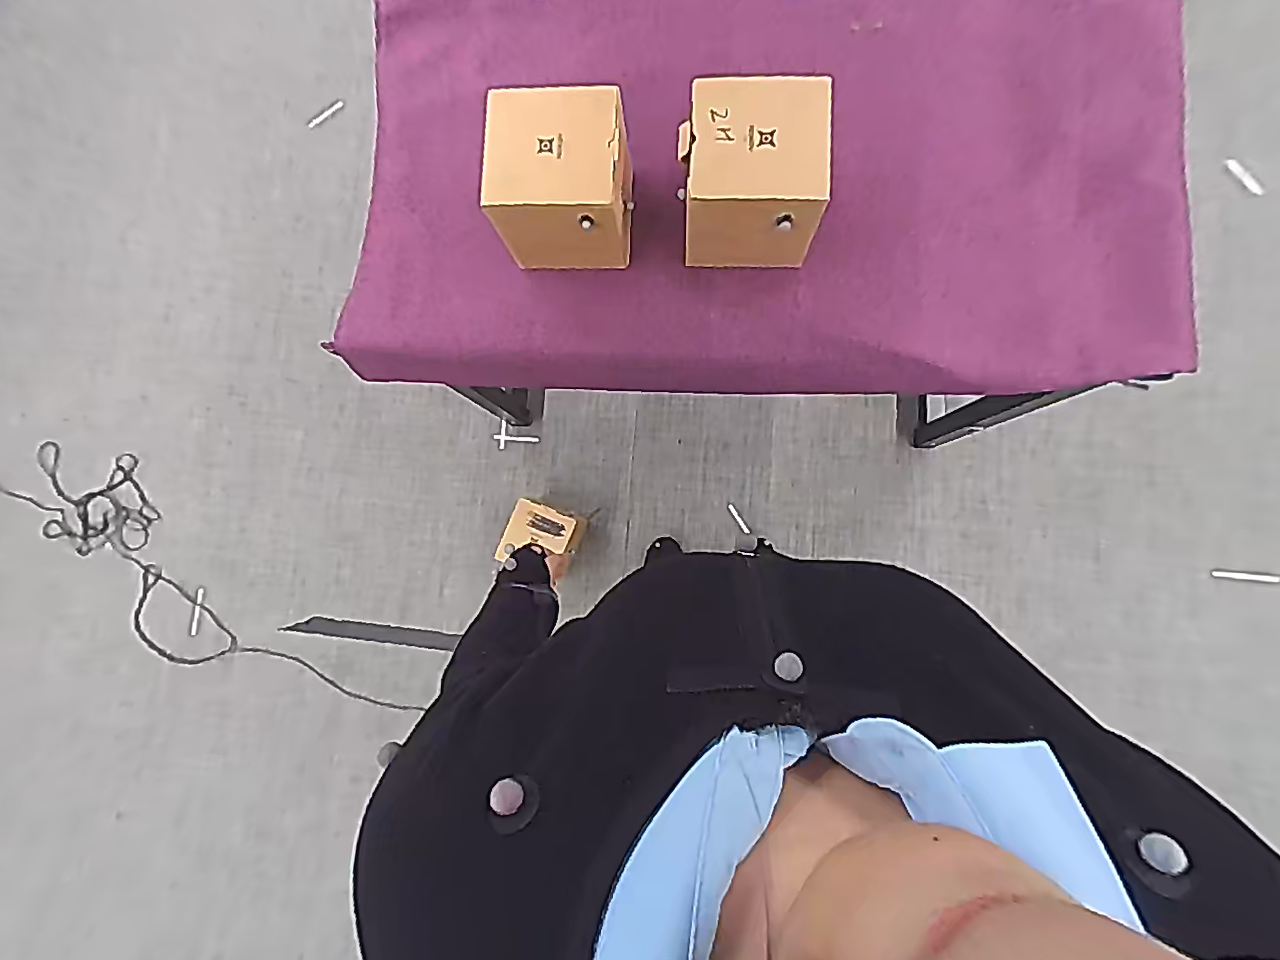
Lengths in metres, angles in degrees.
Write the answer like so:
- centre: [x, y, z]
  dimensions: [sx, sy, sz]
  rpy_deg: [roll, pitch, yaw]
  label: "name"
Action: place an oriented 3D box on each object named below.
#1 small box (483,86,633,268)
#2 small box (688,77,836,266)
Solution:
- centre: [-0.107, -0.421, 0.775]
  dimensions: [0.179, 0.176, 0.168]
  rpy_deg: [1, 84, 4]
  label: "small box"
- centre: [0.159, -0.414, 0.750]
  dimensions: [0.179, 0.176, 0.168]
  rpy_deg: [2, 83, 6]
  label: "small box"
